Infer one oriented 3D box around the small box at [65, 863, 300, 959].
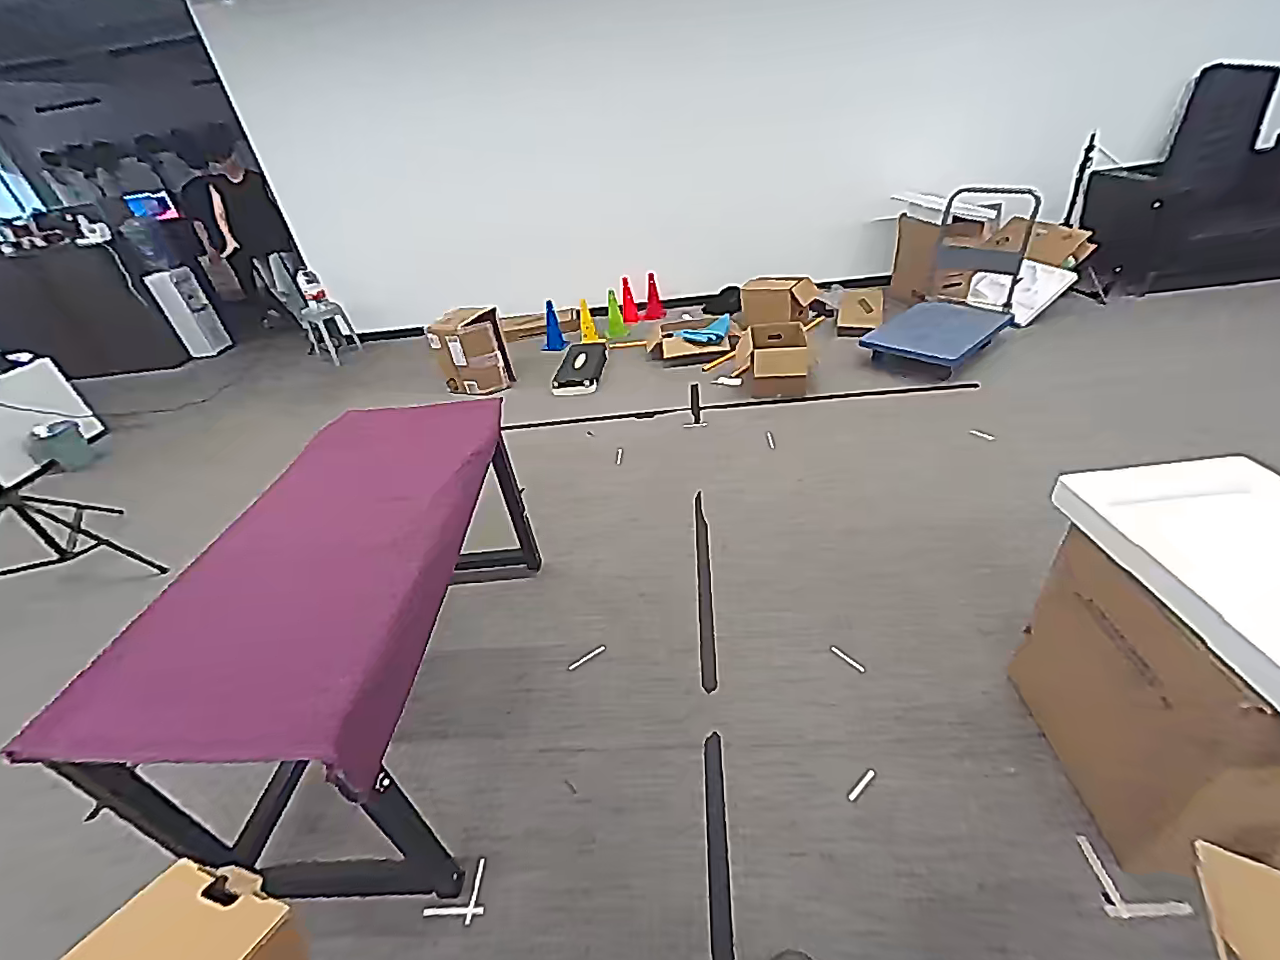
[{"bbox_3d":[-0.420,0.500,0.476,0.168,0.176,0.179,2,17,21],"label":"small box"}]
